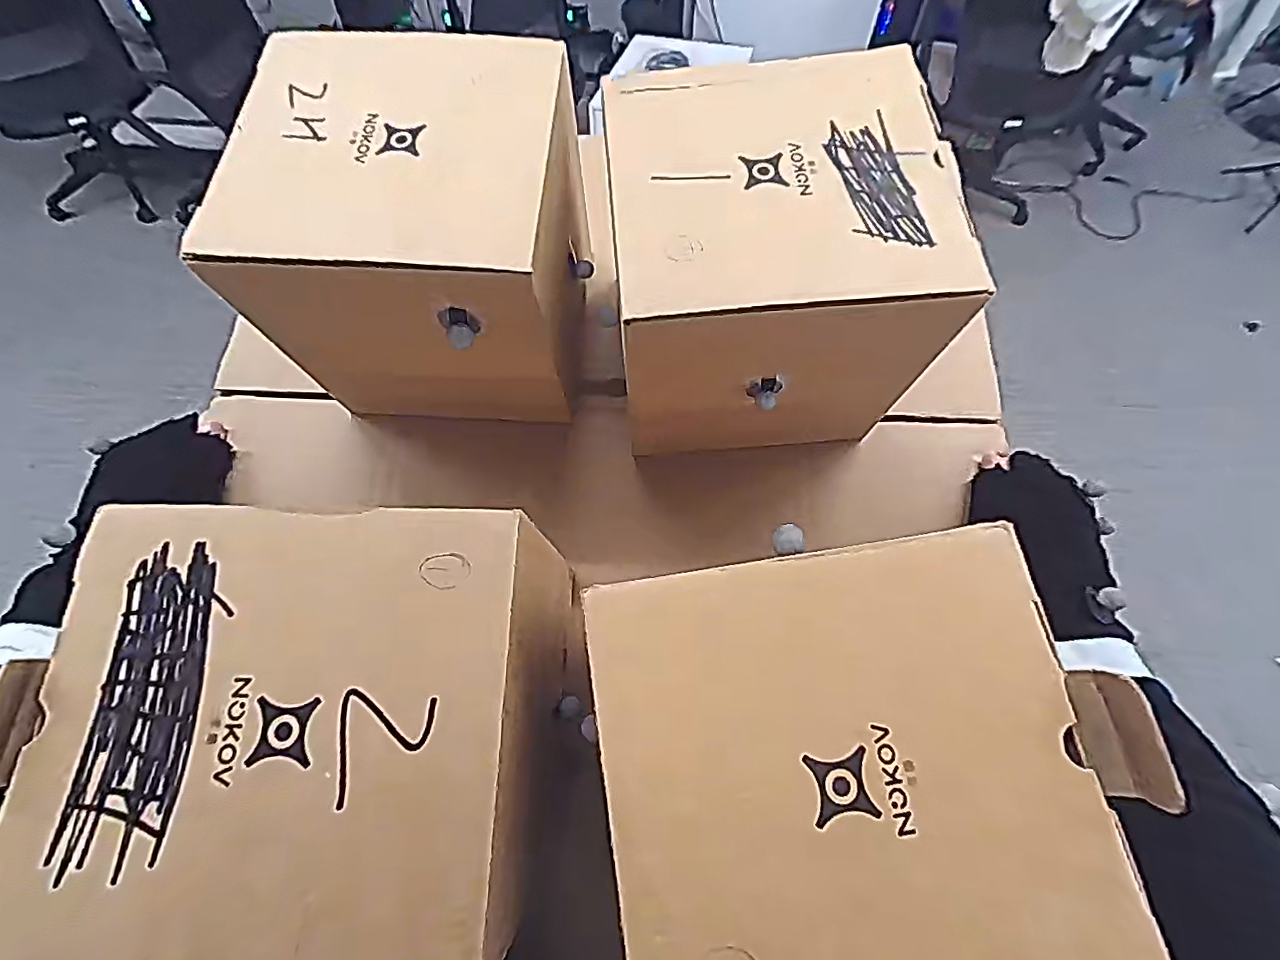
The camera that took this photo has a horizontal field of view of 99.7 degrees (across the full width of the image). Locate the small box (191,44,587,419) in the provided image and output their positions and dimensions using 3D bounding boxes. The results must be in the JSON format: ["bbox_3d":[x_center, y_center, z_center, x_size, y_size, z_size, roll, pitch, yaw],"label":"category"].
[{"bbox_3d":[-0.136,-0.152,0.373,0.179,0.176,0.168,4,70,2],"label":"small box"}]
